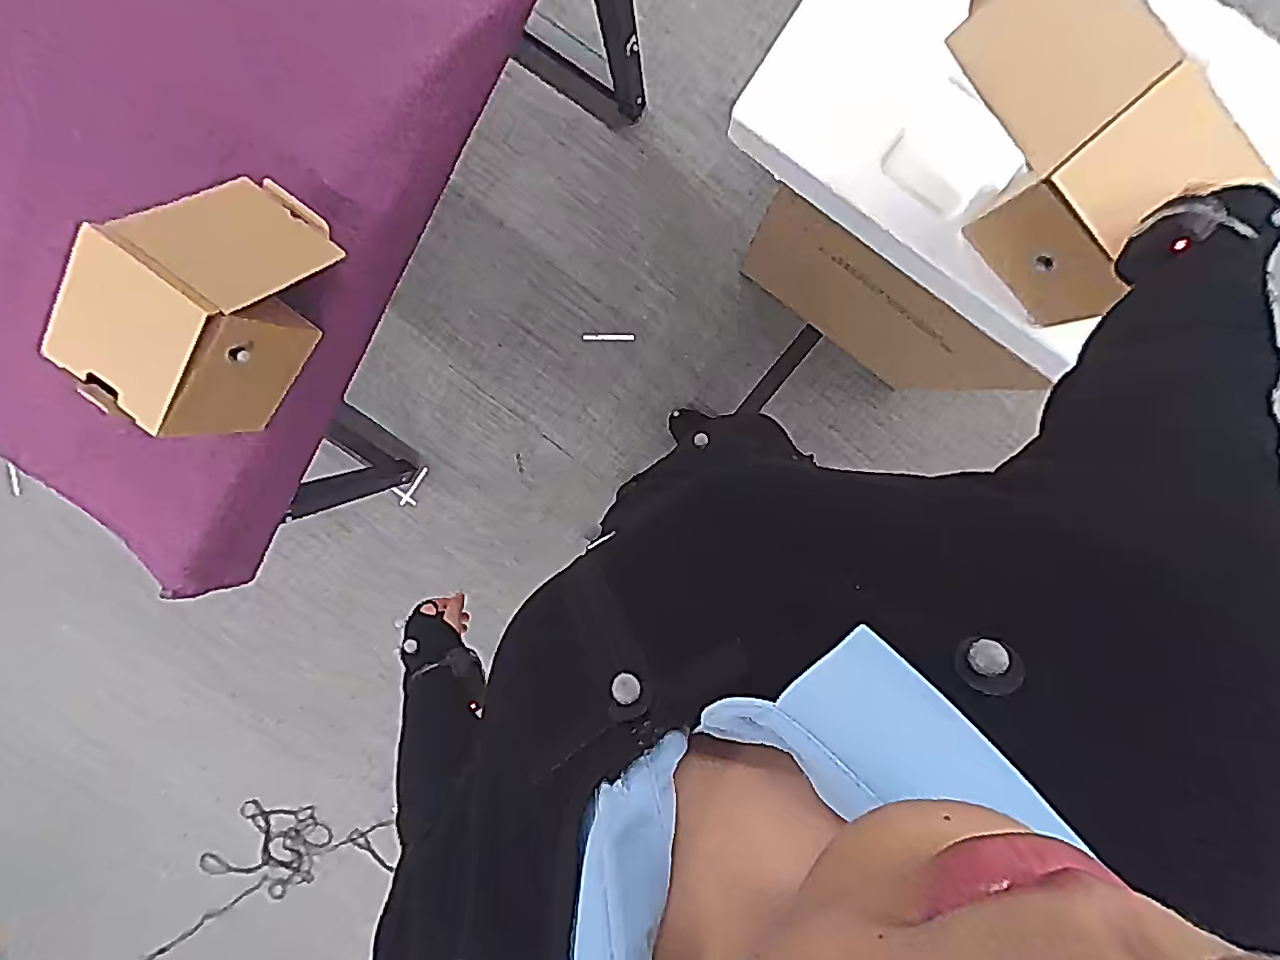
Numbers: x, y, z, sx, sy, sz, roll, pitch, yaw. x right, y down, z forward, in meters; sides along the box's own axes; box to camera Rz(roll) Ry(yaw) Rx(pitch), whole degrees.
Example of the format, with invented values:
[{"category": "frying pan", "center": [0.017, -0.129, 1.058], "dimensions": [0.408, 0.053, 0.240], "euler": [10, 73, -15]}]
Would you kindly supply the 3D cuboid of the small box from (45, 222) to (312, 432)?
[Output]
[{"category": "small box", "center": [-0.566, -0.183, 0.691], "dimensions": [0.168, 0.176, 0.179], "euler": [38, 100, -1]}]
